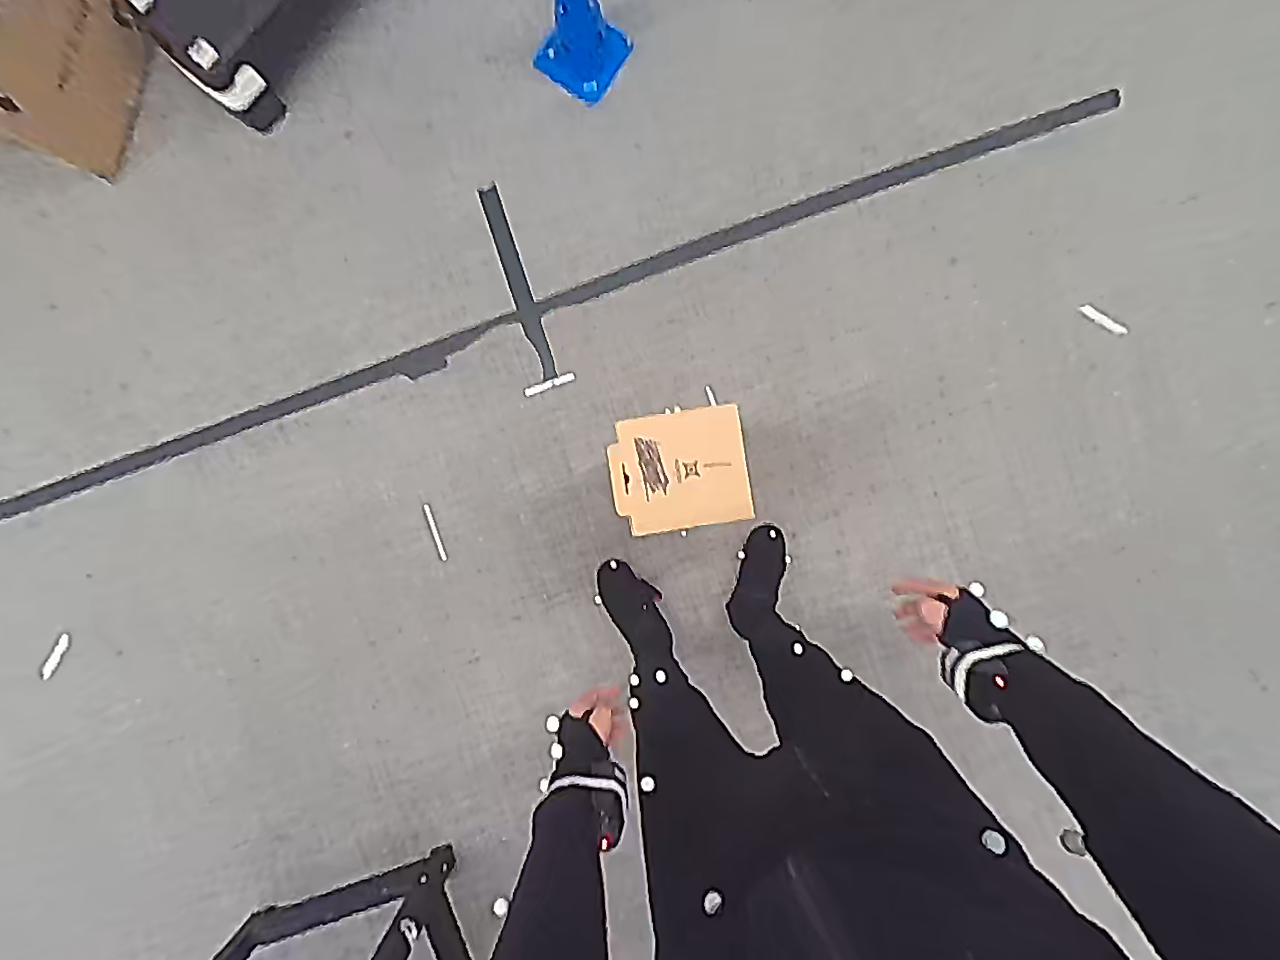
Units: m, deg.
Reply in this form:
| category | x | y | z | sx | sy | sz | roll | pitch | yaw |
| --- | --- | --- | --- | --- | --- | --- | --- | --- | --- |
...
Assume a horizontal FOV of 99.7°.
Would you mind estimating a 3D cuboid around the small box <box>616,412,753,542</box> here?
| category | x | y | z | sx | sy | sz | roll | pitch | yaw |
| --- | --- | --- | --- | --- | --- | --- | --- | --- | --- |
| small box | 0.064 | -0.003 | 0.838 | 0.179 | 0.176 | 0.168 | -9 | 90 | 0 |
